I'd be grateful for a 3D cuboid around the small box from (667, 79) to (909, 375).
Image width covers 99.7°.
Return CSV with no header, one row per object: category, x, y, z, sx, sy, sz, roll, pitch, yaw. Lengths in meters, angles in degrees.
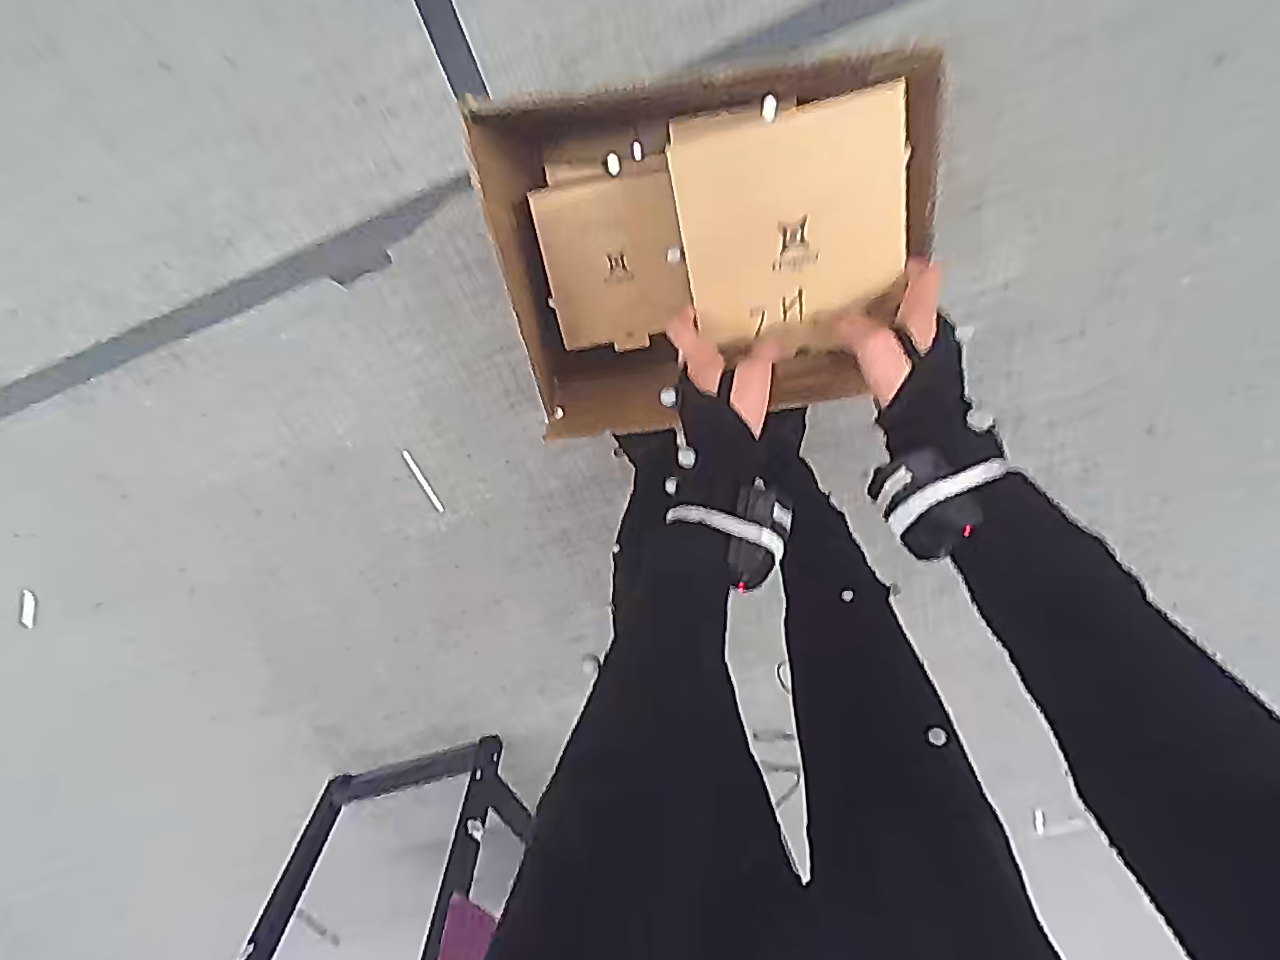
small box,0.118,-0.214,0.473,0.168,0.176,0.179,-10,119,9
